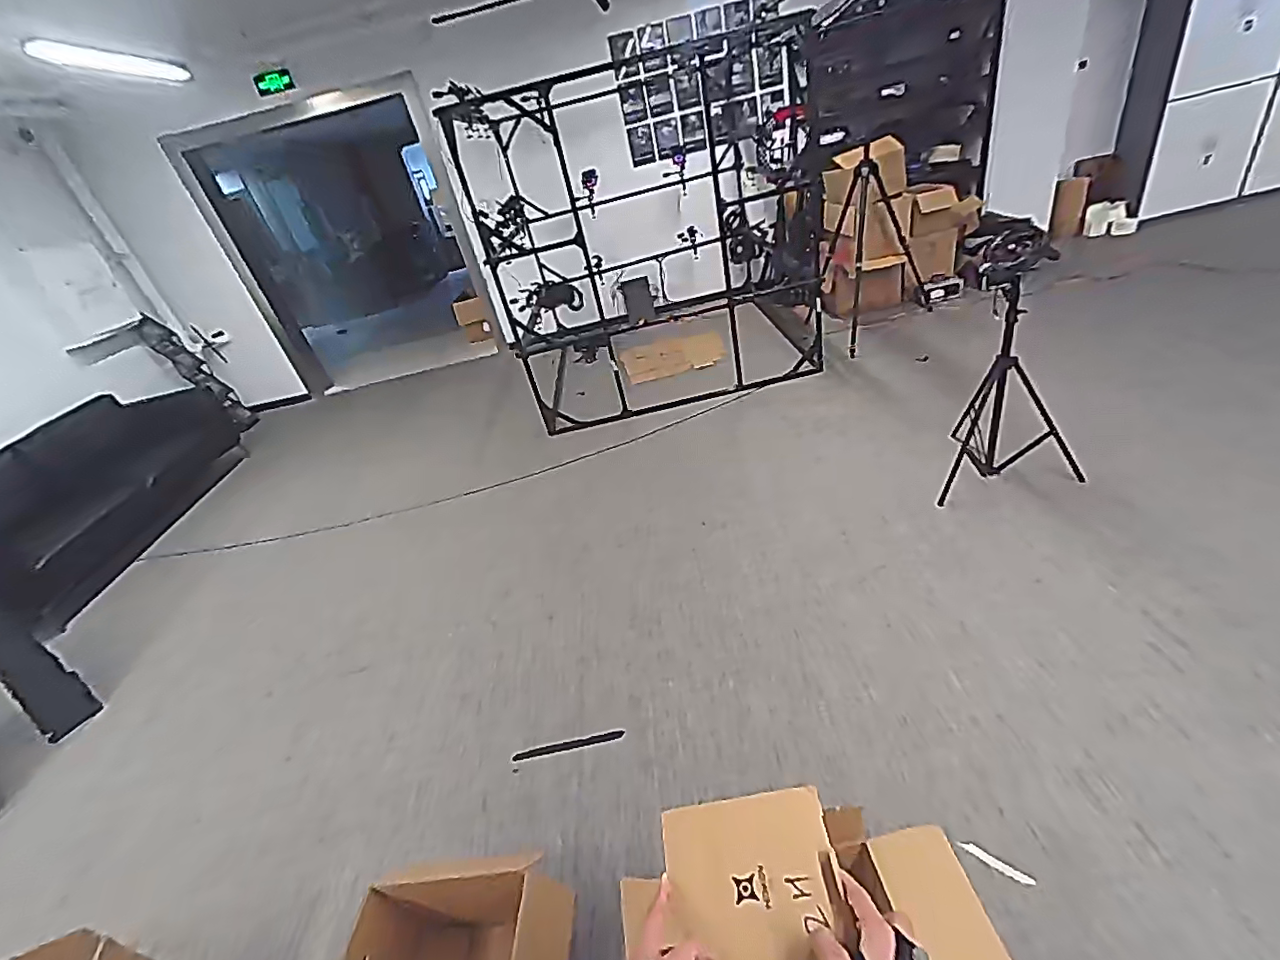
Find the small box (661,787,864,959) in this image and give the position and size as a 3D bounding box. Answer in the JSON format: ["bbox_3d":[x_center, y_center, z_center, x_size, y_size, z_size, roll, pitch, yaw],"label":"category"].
[{"bbox_3d":[0.131,0.460,0.585,0.179,0.176,0.168,-13,42,6],"label":"small box"}]
